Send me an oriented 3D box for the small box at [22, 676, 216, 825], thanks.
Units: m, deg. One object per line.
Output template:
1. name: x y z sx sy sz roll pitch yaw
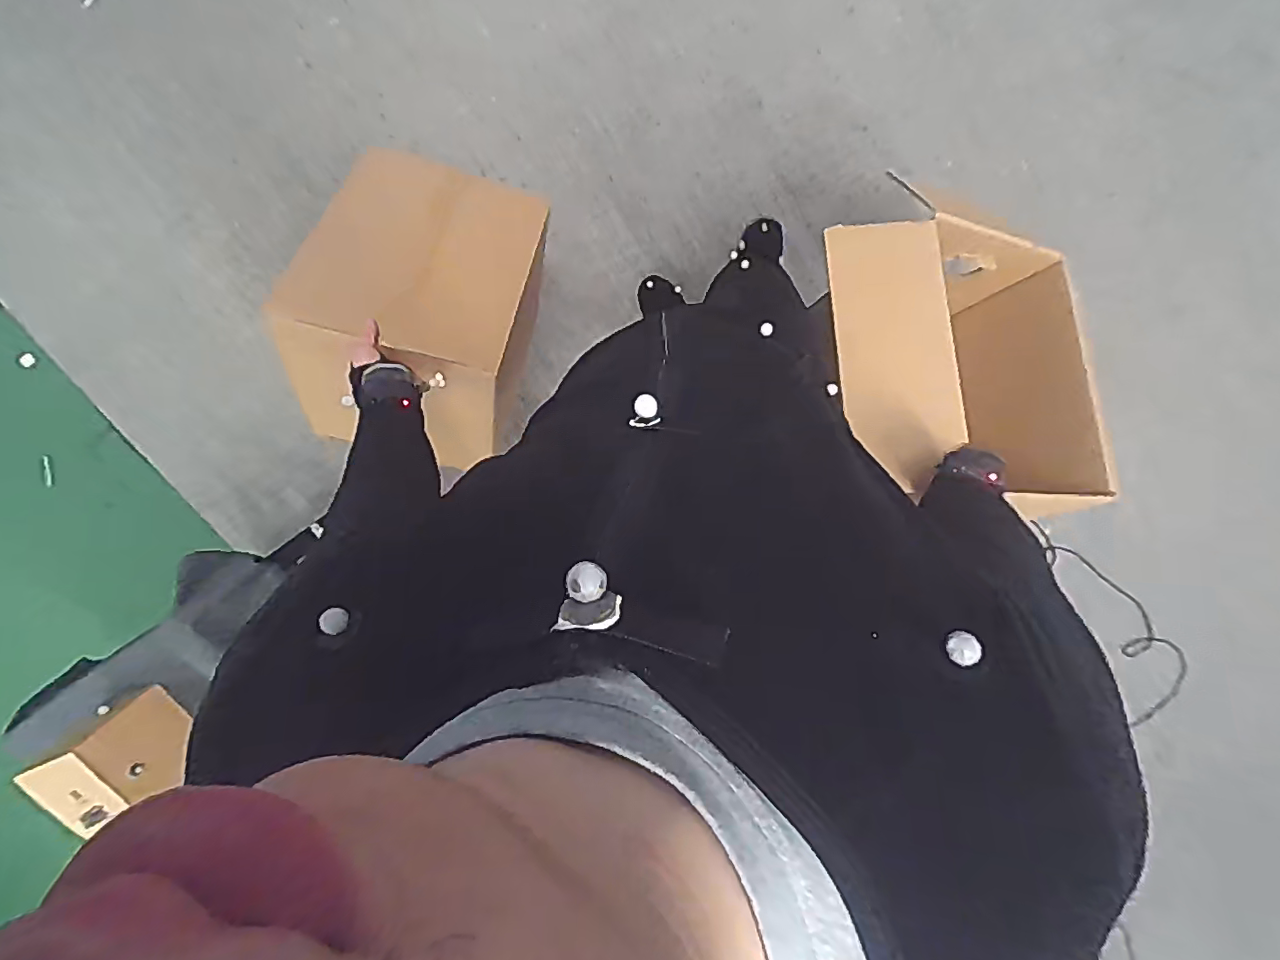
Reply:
1. small box: -0.989 0.518 1.046 0.168 0.176 0.179 -24 108 14
